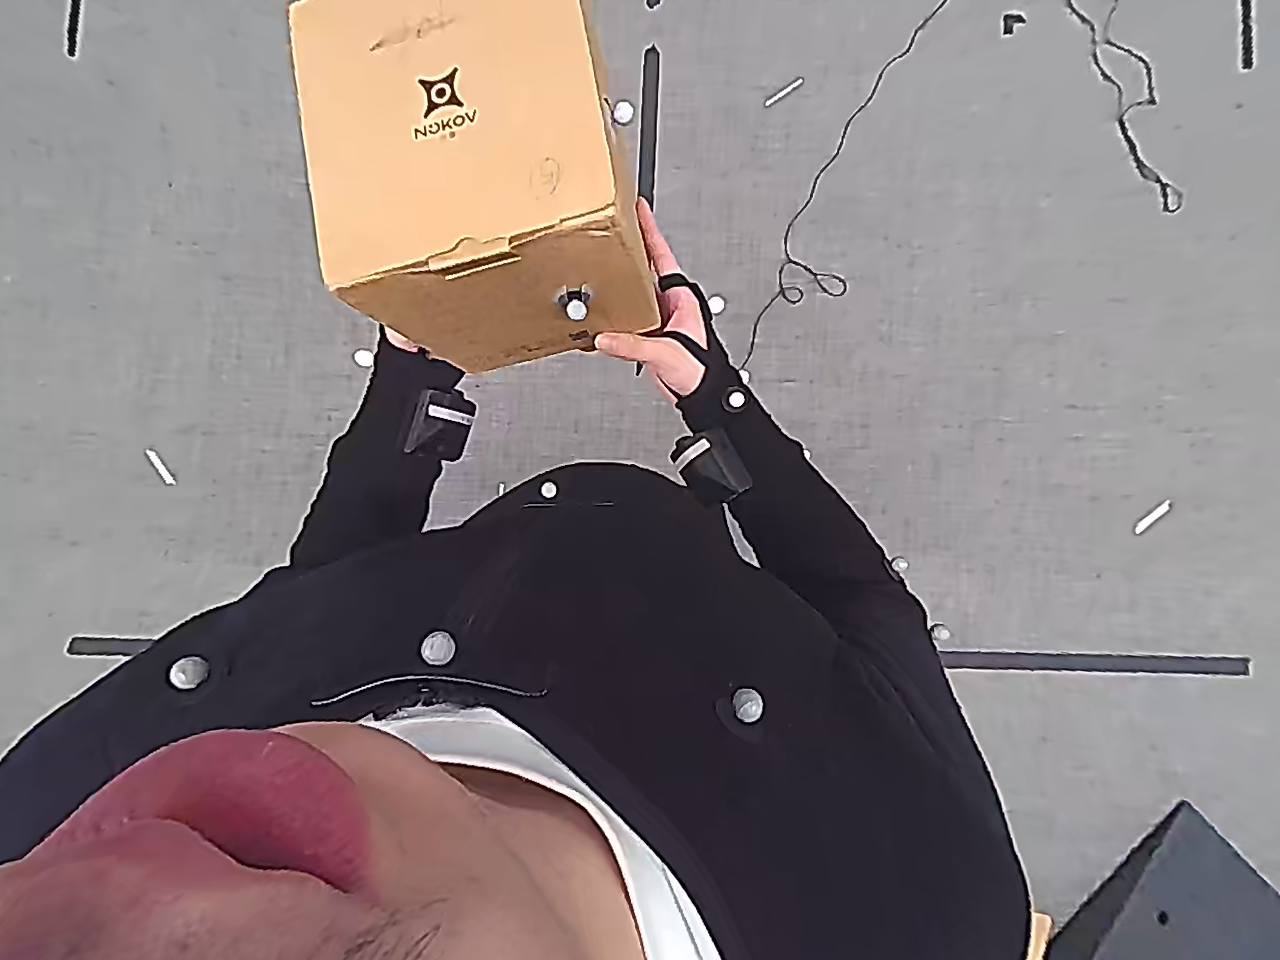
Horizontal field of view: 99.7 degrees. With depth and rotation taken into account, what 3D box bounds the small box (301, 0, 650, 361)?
[{"bbox_3d":[-0.094,-0.195,0.378,0.168,0.176,0.179,-11,83,7],"label":"small box"}]
